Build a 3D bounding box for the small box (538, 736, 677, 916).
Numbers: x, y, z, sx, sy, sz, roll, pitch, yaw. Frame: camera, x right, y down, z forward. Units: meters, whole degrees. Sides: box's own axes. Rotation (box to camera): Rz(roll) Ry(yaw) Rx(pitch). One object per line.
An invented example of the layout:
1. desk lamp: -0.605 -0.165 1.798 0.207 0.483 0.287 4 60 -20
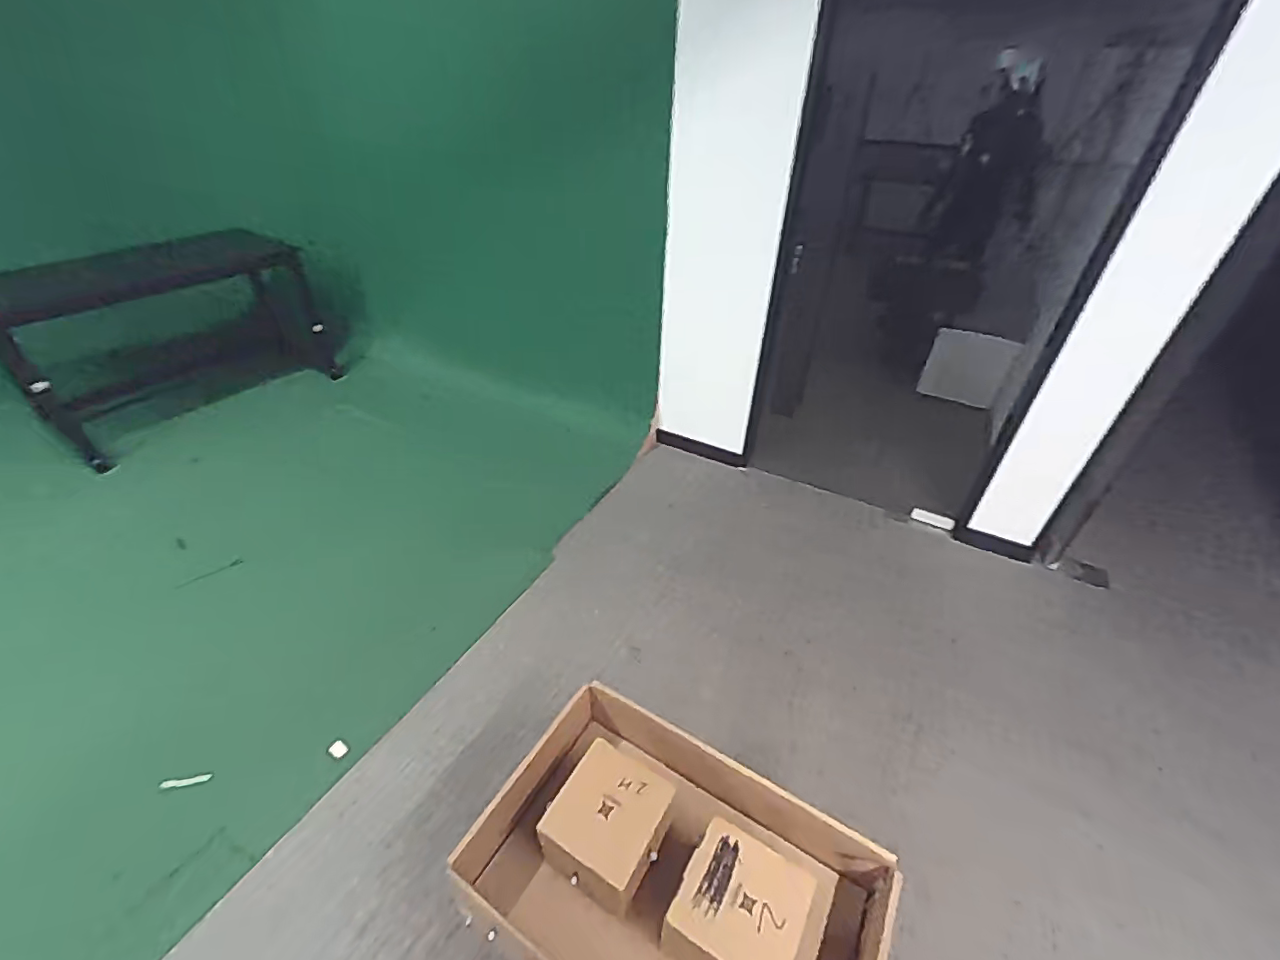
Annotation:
1. small box: -0.050 0.593 0.928 0.168 0.176 0.179 23 43 24
